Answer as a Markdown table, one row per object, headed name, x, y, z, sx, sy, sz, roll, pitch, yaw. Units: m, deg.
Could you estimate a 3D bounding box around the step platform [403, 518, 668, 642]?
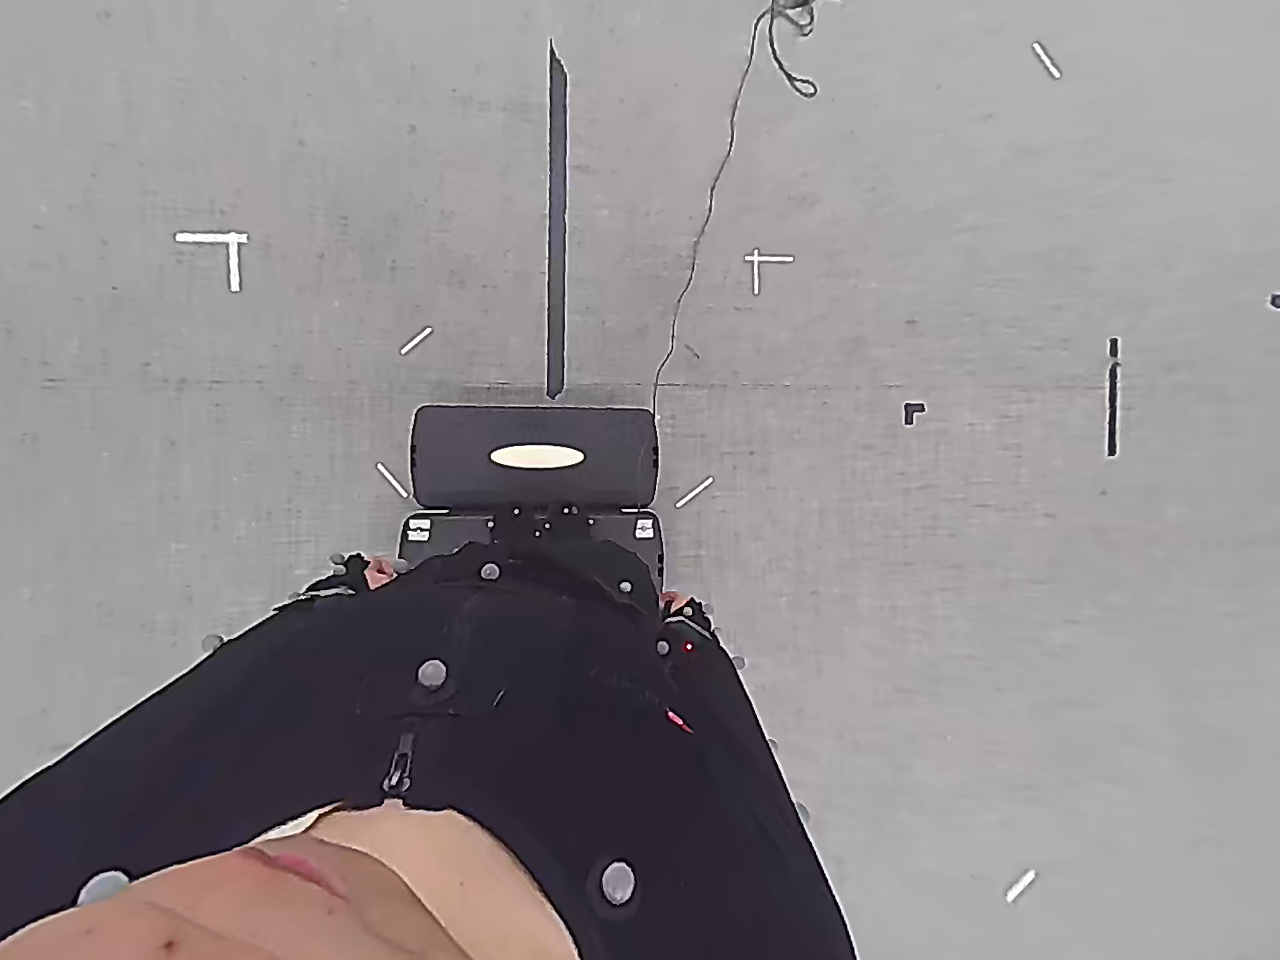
| name | x | y | z | sx | sy | sz | roll | pitch | yaw |
| --- | --- | --- | --- | --- | --- | --- | --- | --- | --- |
| step platform | -0.266 | 0.267 | 1.453 | 0.684 | 0.204 | 0.286 | 4 | 87 | -6 |
